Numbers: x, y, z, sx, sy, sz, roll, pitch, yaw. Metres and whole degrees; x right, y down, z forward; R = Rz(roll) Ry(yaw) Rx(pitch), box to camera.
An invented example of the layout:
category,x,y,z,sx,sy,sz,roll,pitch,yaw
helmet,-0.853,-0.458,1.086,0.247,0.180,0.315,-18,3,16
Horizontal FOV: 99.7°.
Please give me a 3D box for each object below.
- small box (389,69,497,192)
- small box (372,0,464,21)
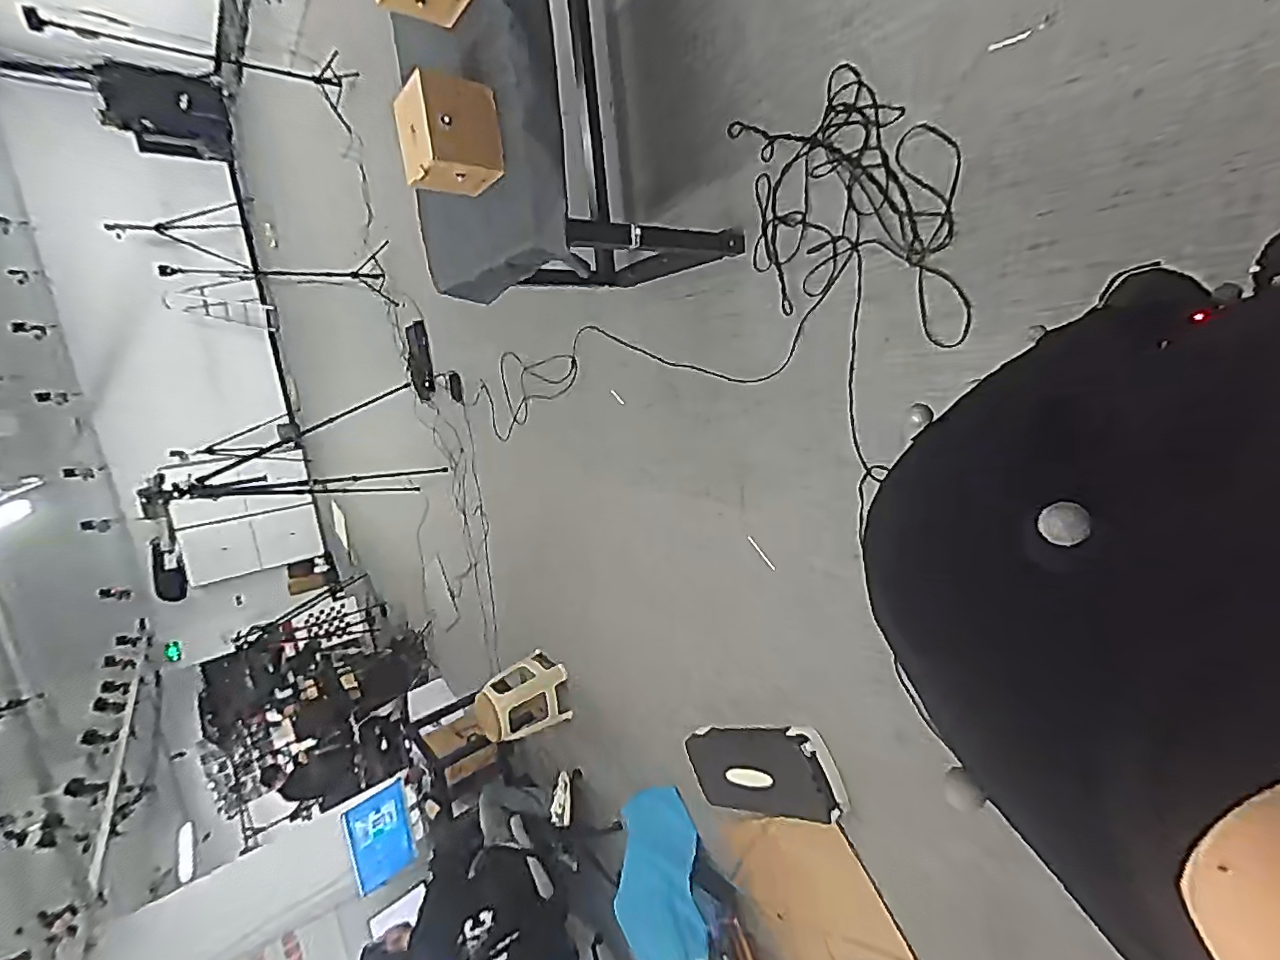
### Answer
category,x,y,z,sx,sy,sz,roll,pitch,yaw
small box,-0.432,-0.757,1.199,0.168,0.176,0.179,6,105,49
small box,-0.466,-1.106,1.127,0.168,0.176,0.179,8,108,49
